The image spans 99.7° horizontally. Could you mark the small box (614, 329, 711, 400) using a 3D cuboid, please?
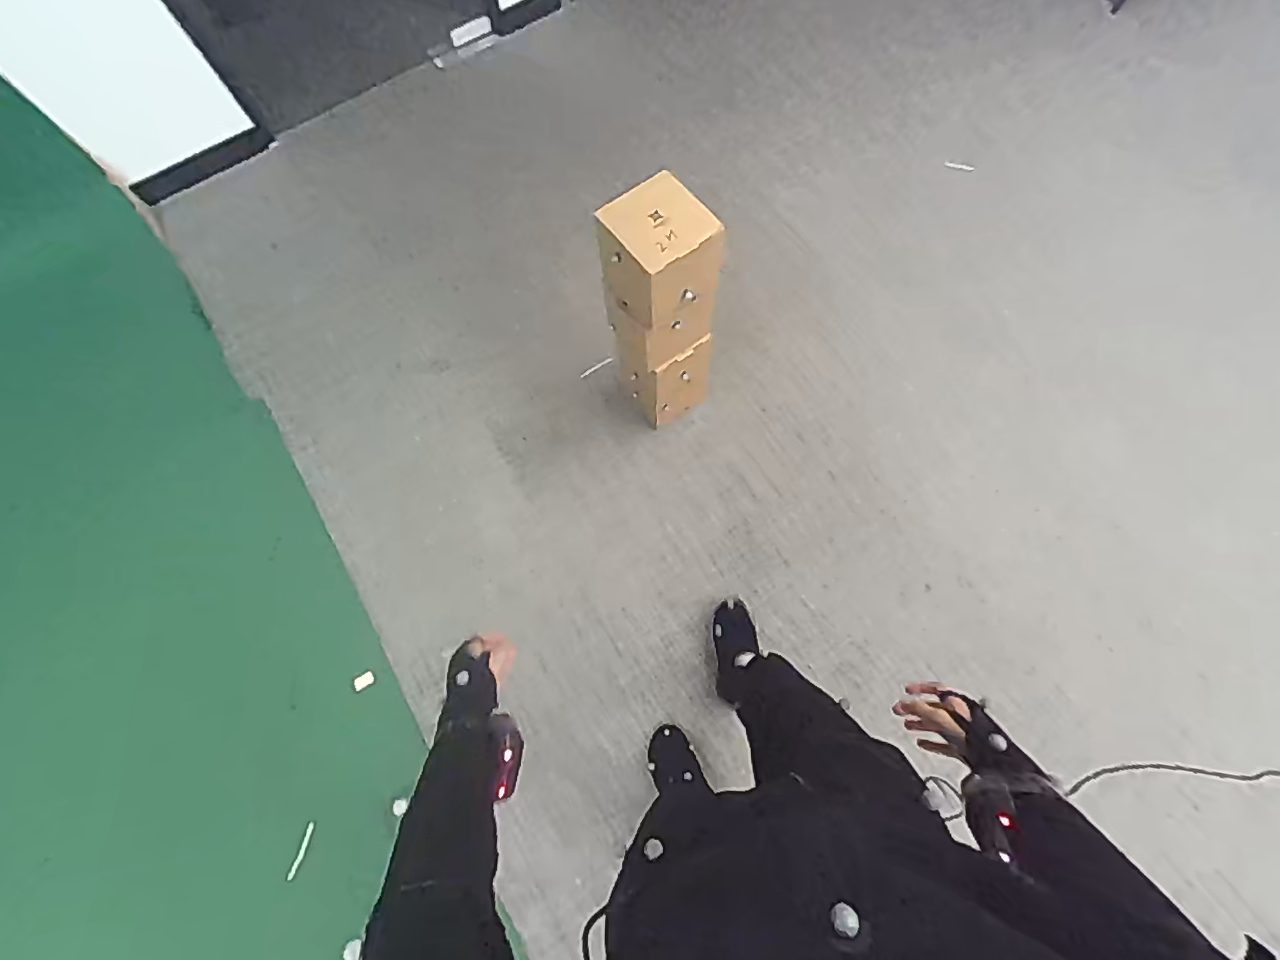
[{"bbox_3d":[0.054,-0.322,1.339,0.168,0.176,0.179,-34,74,-10],"label":"small box"}]

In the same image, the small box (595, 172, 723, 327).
[{"bbox_3d":[0.034,-0.429,1.028,0.168,0.176,0.179,-35,73,-9],"label":"small box"}]

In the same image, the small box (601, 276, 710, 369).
[{"bbox_3d":[0.038,-0.375,1.184,0.179,0.176,0.168,-34,73,-9],"label":"small box"}]
